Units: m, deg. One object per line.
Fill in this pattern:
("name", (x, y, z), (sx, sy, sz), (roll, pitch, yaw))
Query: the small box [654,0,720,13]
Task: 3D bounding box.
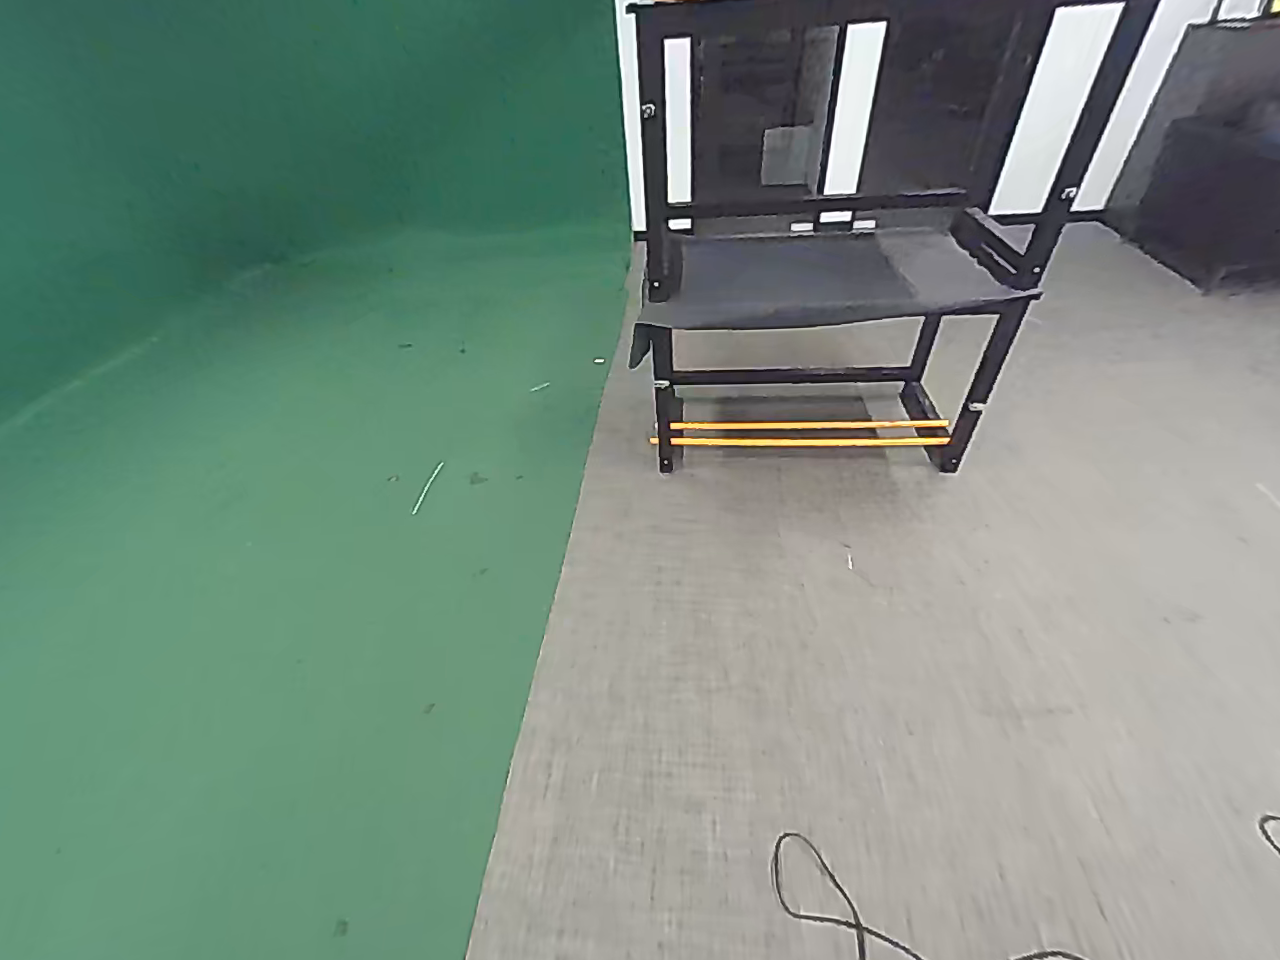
("small box", (0.114, -1.259, 1.324), (0.168, 0.176, 0.179), (-1, 43, 5))
